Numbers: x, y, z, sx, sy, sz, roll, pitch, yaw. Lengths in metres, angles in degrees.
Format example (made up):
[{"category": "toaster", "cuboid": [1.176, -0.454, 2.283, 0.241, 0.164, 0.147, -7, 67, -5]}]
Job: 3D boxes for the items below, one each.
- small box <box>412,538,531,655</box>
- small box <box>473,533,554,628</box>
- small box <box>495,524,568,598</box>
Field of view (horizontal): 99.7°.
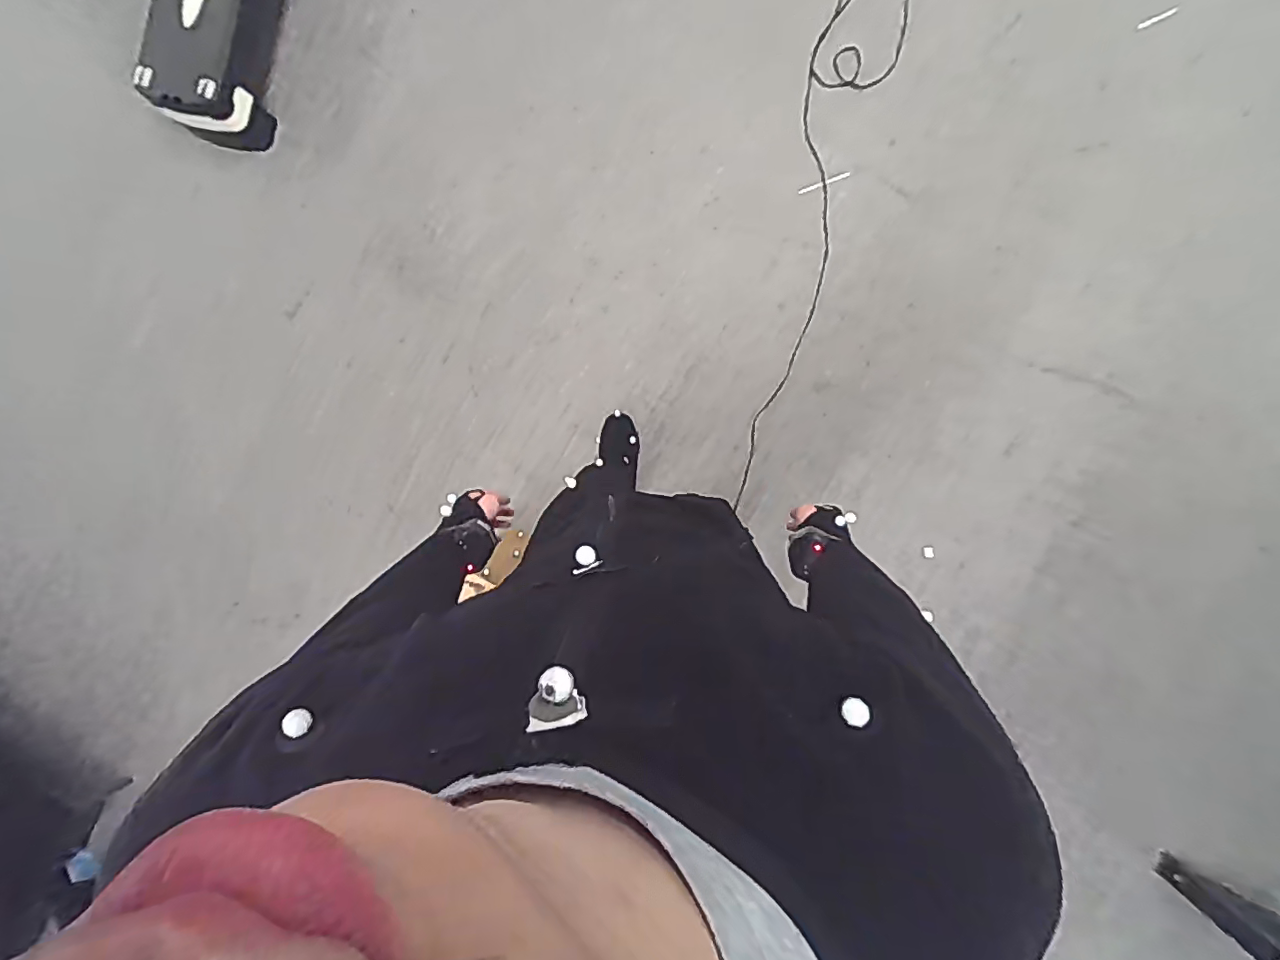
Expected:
[{"category": "small box", "cuboid": [-0.366, 0.251, 1.208, 0.168, 0.176, 0.179, 26, 97, 6]}, {"category": "small box", "cuboid": [-0.344, 0.244, 1.369, 0.179, 0.176, 0.168, 24, 96, 6]}, {"category": "small box", "cuboid": [-0.328, 0.233, 1.533, 0.179, 0.176, 0.168, 24, 96, 5]}]
